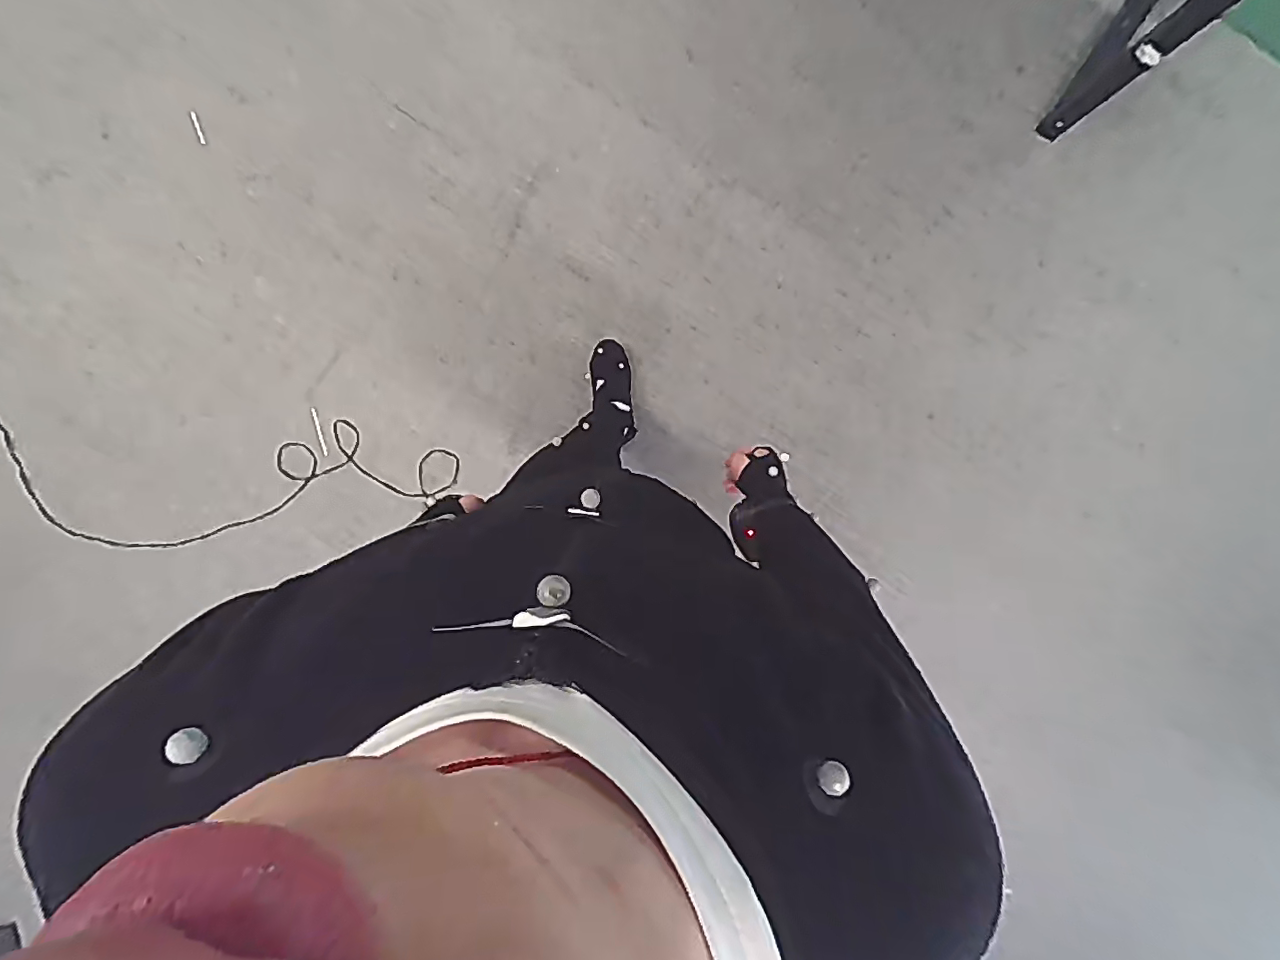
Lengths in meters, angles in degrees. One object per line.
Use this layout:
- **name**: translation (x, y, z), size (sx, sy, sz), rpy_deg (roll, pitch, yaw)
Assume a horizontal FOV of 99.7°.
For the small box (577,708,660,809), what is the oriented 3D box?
- **small box**: translation (-0.062, 0.794, 1.566), size (0.179, 0.176, 0.168), rpy_deg (31, 94, -4)
